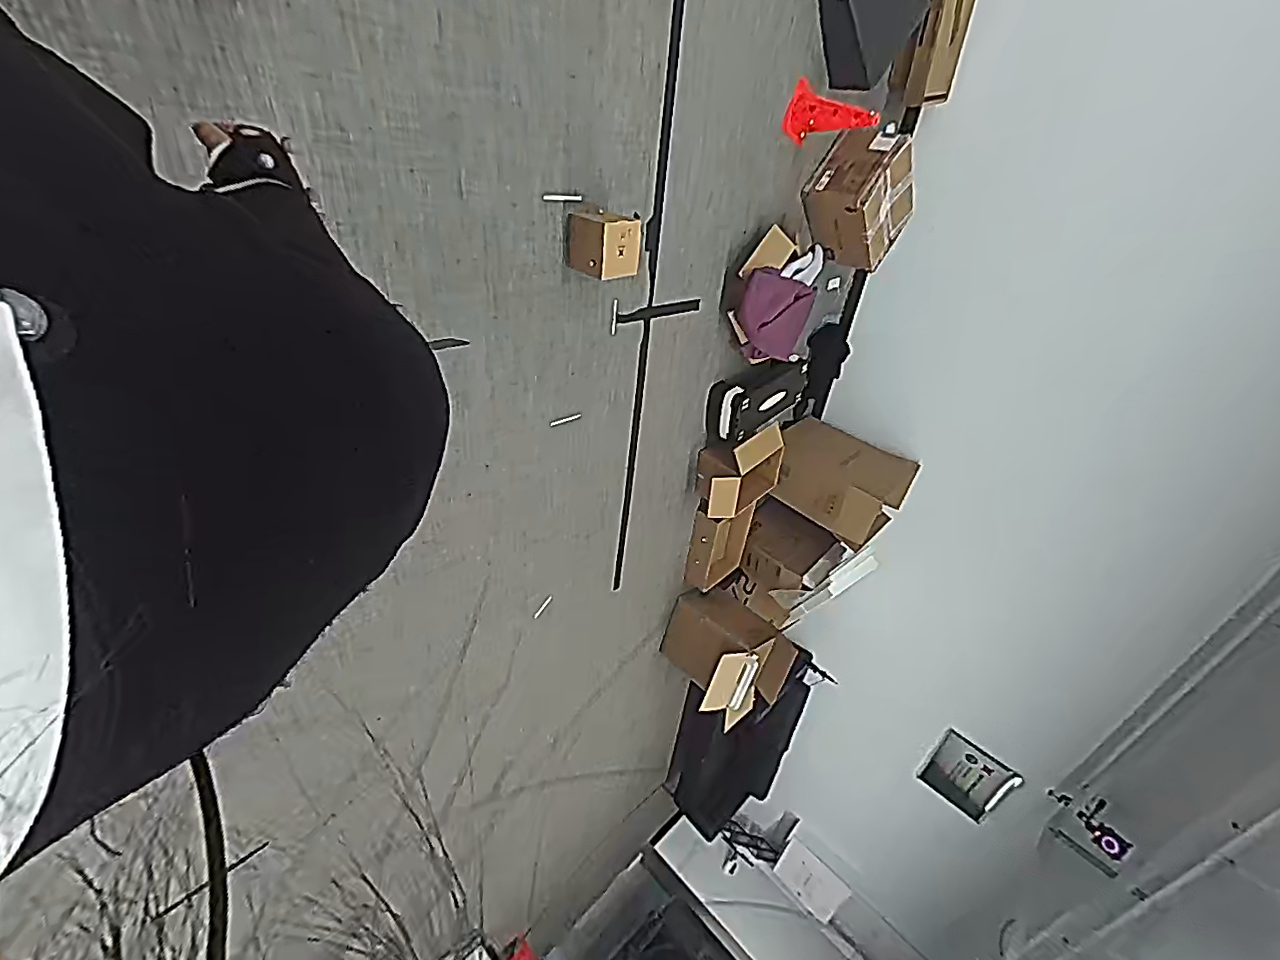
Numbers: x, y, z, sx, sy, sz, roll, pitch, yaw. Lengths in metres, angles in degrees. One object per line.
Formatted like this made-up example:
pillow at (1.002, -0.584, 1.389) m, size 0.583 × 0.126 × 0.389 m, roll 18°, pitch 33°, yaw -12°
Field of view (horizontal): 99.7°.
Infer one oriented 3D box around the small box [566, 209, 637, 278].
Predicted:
small box at (-0.133, -0.788, 1.795) m, size 0.168 × 0.176 × 0.179 m, roll -27°, pitch 136°, yaw -39°
